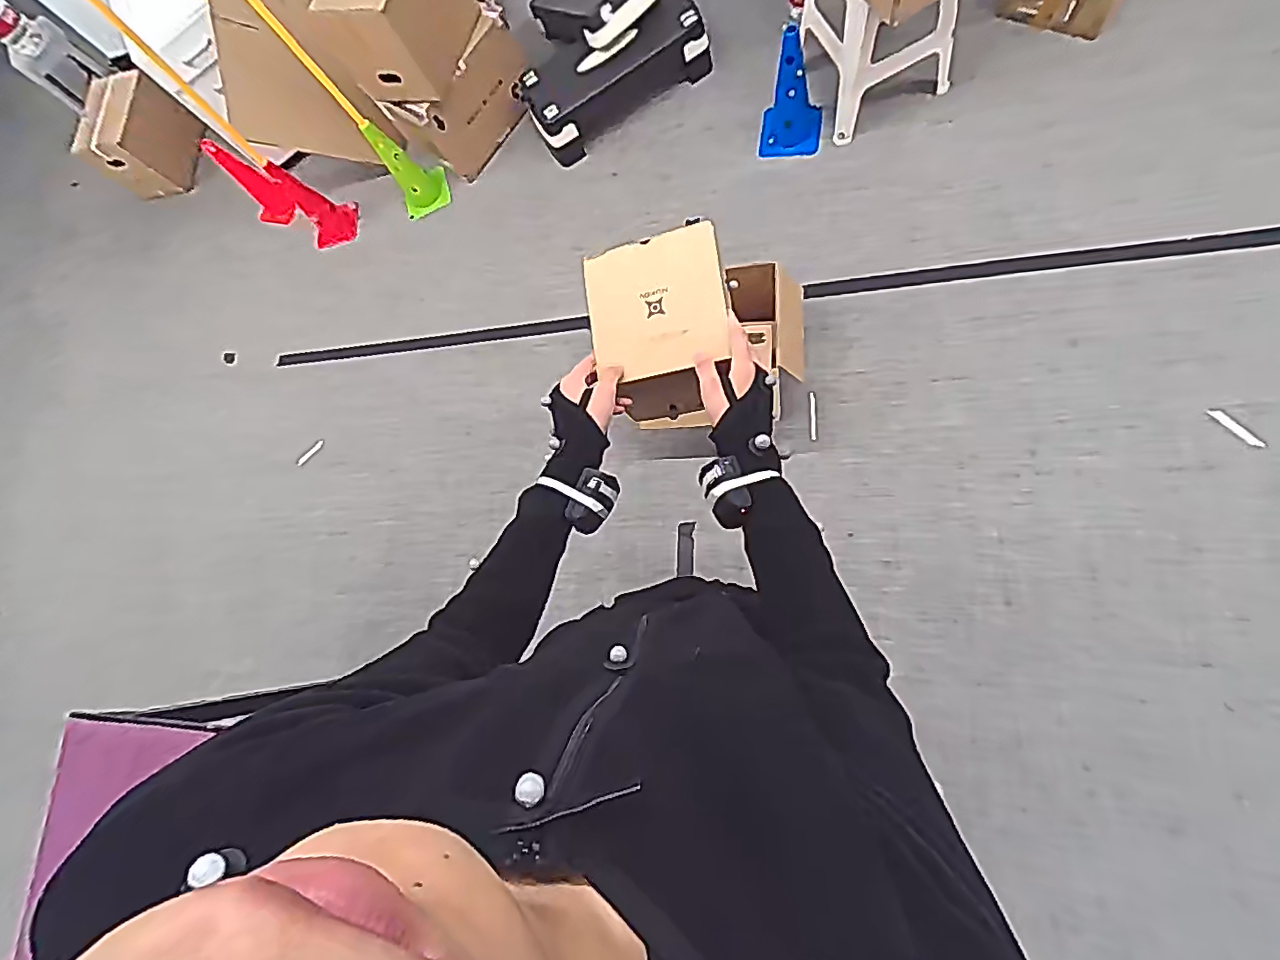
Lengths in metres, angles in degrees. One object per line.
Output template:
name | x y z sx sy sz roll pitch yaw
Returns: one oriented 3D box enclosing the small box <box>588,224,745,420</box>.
small box | 0.042 -0.195 0.717 0.168 0.176 0.179 -10 78 14
